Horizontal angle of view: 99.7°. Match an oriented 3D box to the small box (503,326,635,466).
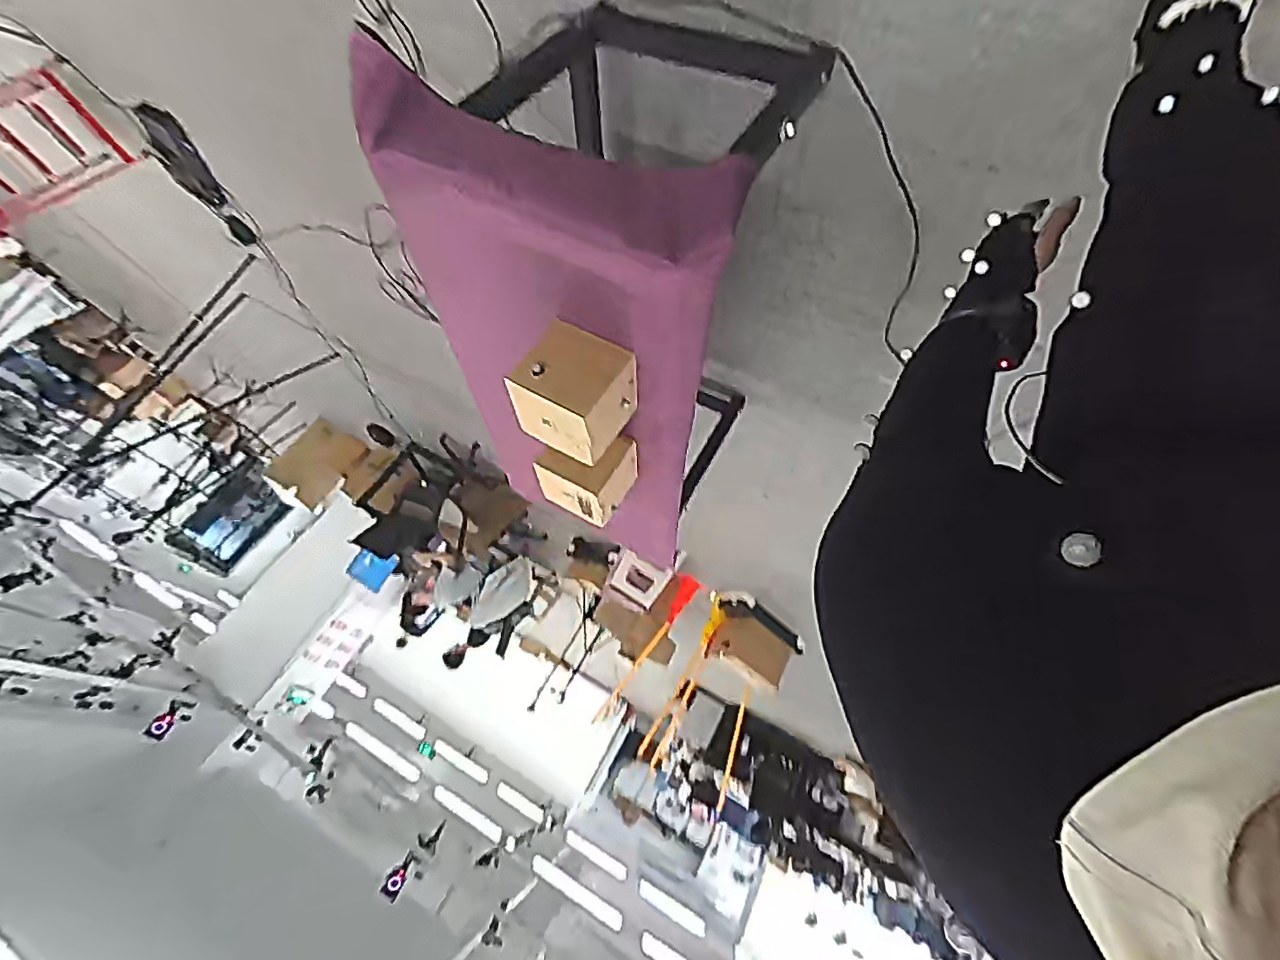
[{"bbox_3d":[-0.127,-0.164,1.028,0.179,0.176,0.168,27,154,14],"label":"small box"}]
